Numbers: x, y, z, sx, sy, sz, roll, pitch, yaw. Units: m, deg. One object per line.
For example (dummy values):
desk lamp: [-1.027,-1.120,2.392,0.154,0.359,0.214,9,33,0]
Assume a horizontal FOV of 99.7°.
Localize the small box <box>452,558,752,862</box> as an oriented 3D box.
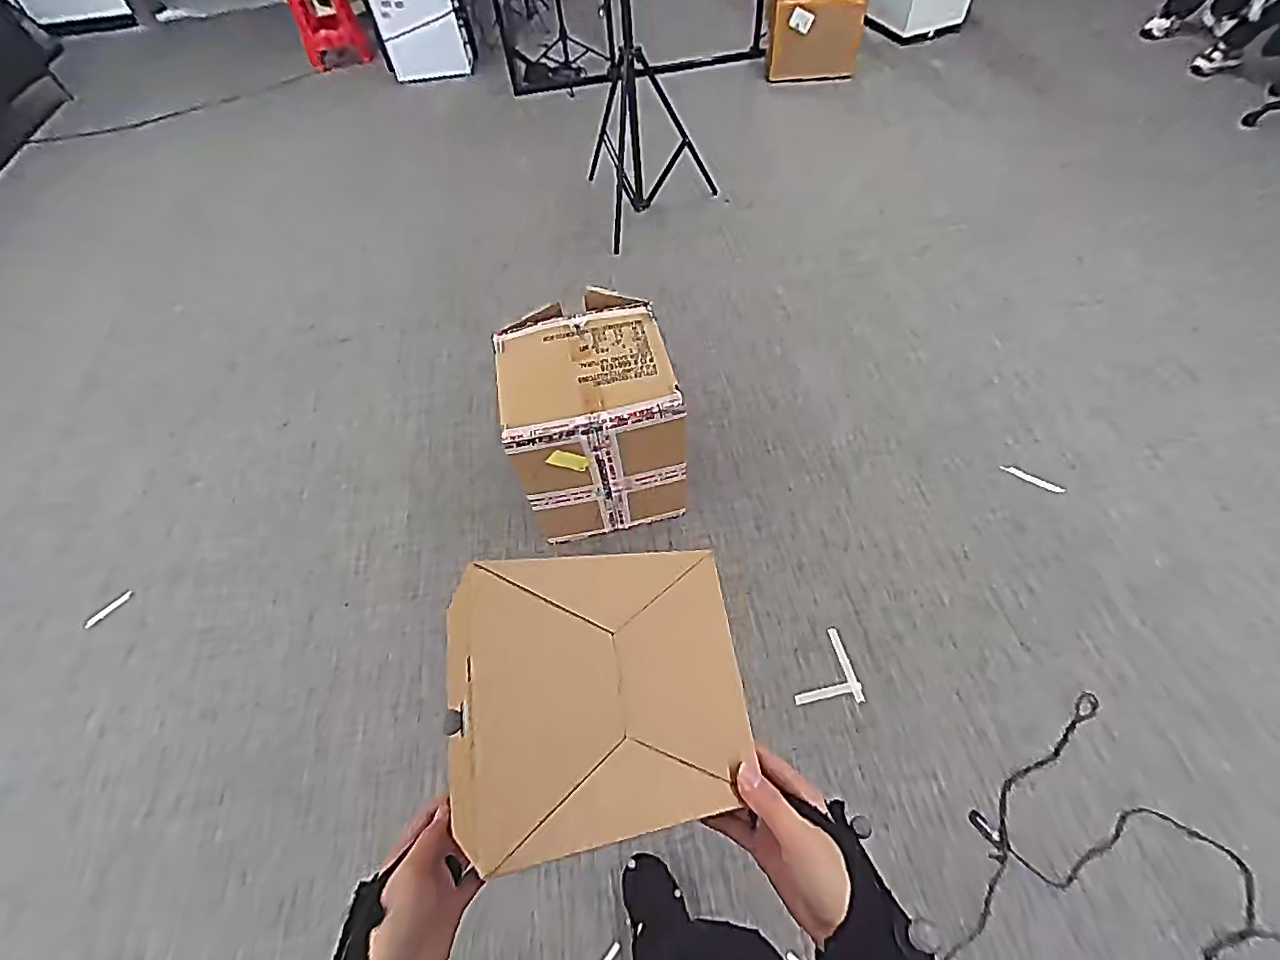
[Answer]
small box: [-0.042,0.162,0.408,0.179,0.176,0.168,1,65,-25]
